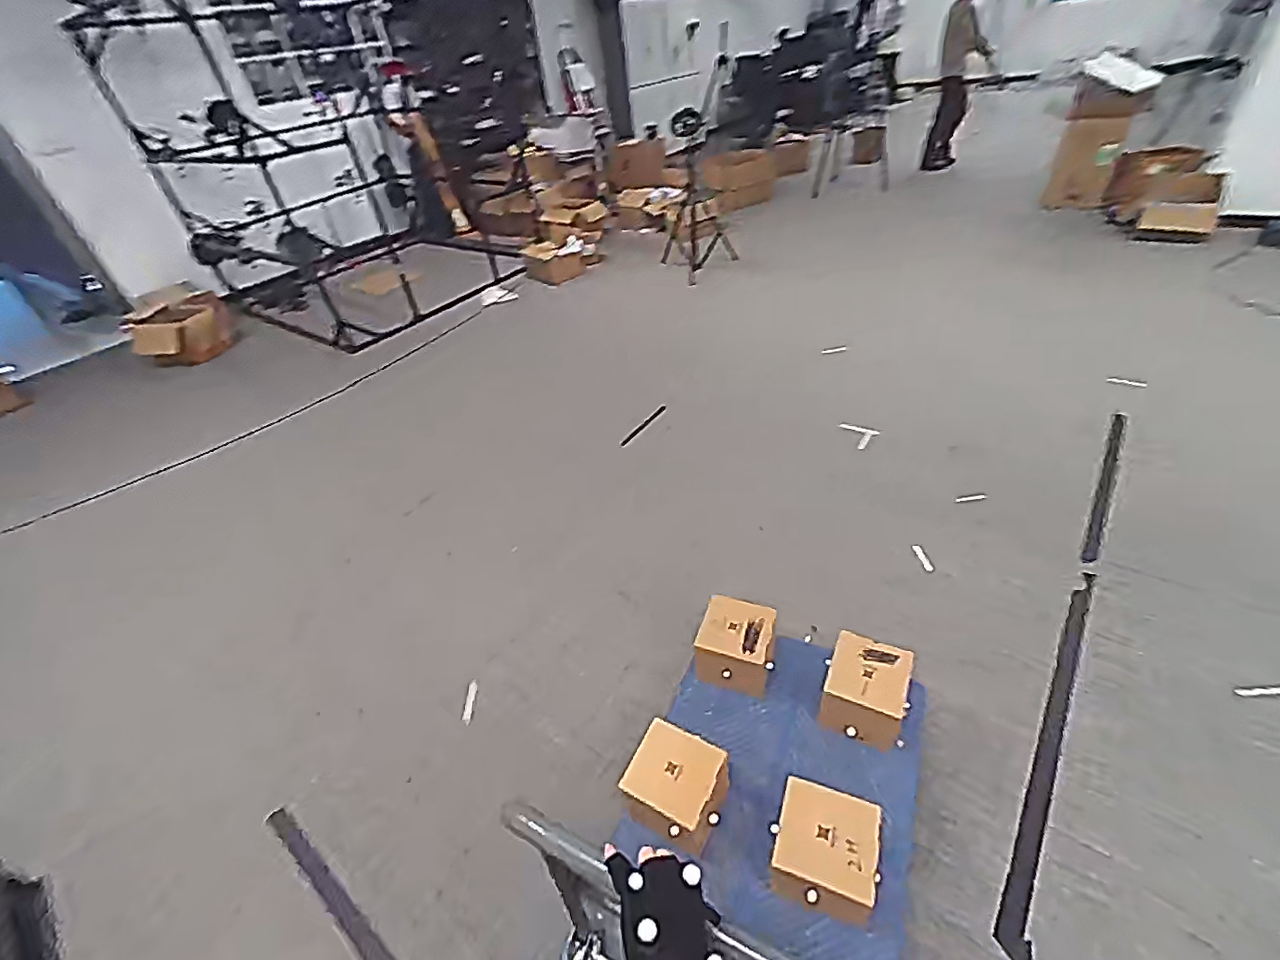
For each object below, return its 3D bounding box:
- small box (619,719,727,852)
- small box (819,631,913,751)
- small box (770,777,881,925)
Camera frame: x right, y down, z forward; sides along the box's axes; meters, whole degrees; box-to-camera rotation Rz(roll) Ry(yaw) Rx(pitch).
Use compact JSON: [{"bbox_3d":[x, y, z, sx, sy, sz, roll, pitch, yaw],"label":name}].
[{"bbox_3d":[0.077,0.663,1.172,0.179,0.176,0.168,16,45,25],"label":"small box"},{"bbox_3d":[0.531,0.500,1.282,0.168,0.176,0.179,14,46,26],"label":"small box"},{"bbox_3d":[0.355,0.720,1.048,0.179,0.176,0.168,10,43,22],"label":"small box"}]
